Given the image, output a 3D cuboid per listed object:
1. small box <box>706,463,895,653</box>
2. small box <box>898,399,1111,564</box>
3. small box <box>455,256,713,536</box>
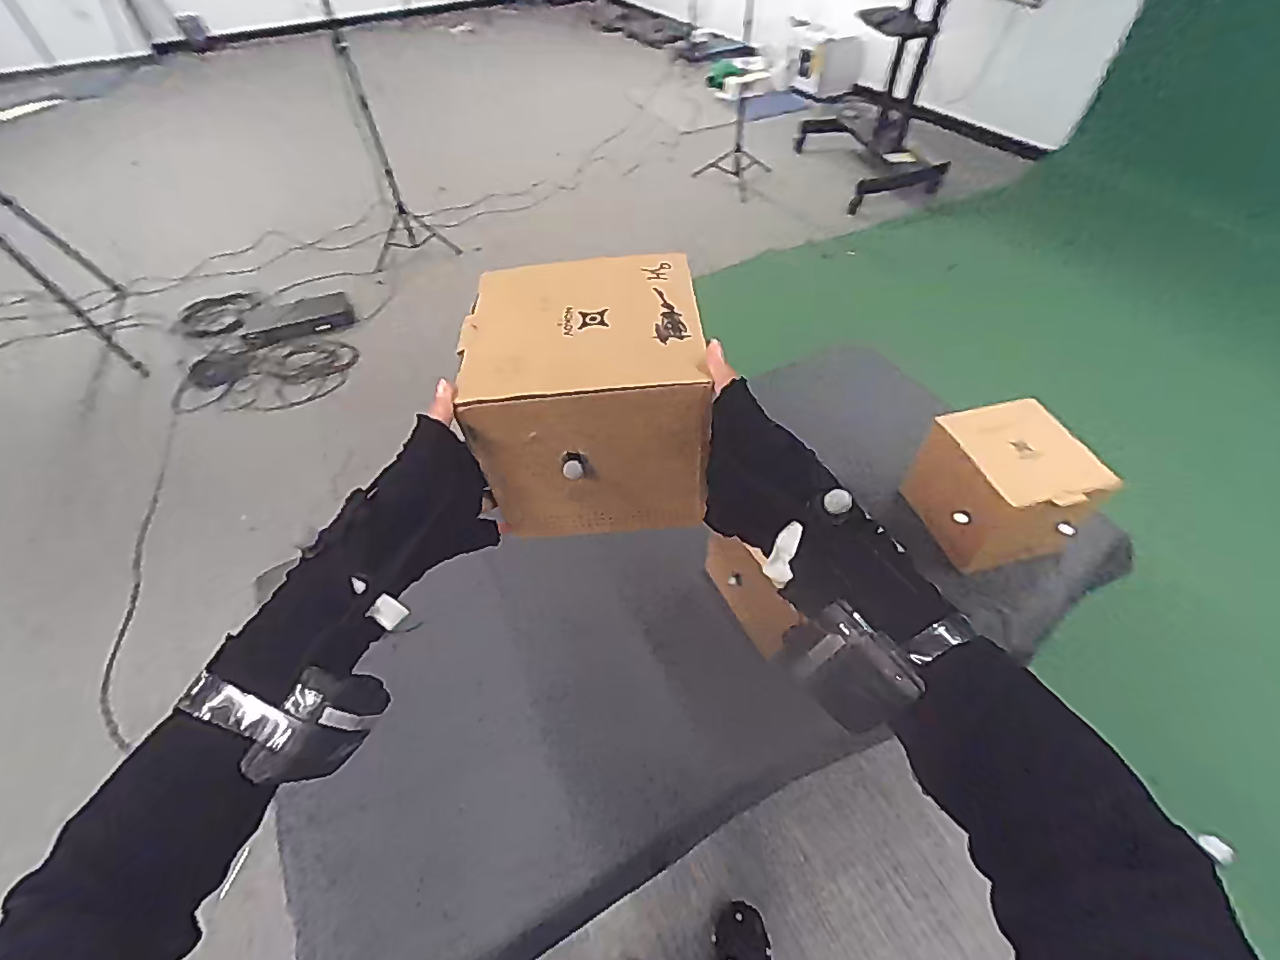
[{"bbox_3d":[0.205,0.113,0.742,0.168,0.176,0.179,-21,51,-15],"label":"small box"},{"bbox_3d":[0.528,0.009,0.815,0.168,0.176,0.179,-12,49,-8],"label":"small box"},{"bbox_3d":[-0.033,-0.065,0.466,0.179,0.176,0.168,-5,52,2],"label":"small box"}]
